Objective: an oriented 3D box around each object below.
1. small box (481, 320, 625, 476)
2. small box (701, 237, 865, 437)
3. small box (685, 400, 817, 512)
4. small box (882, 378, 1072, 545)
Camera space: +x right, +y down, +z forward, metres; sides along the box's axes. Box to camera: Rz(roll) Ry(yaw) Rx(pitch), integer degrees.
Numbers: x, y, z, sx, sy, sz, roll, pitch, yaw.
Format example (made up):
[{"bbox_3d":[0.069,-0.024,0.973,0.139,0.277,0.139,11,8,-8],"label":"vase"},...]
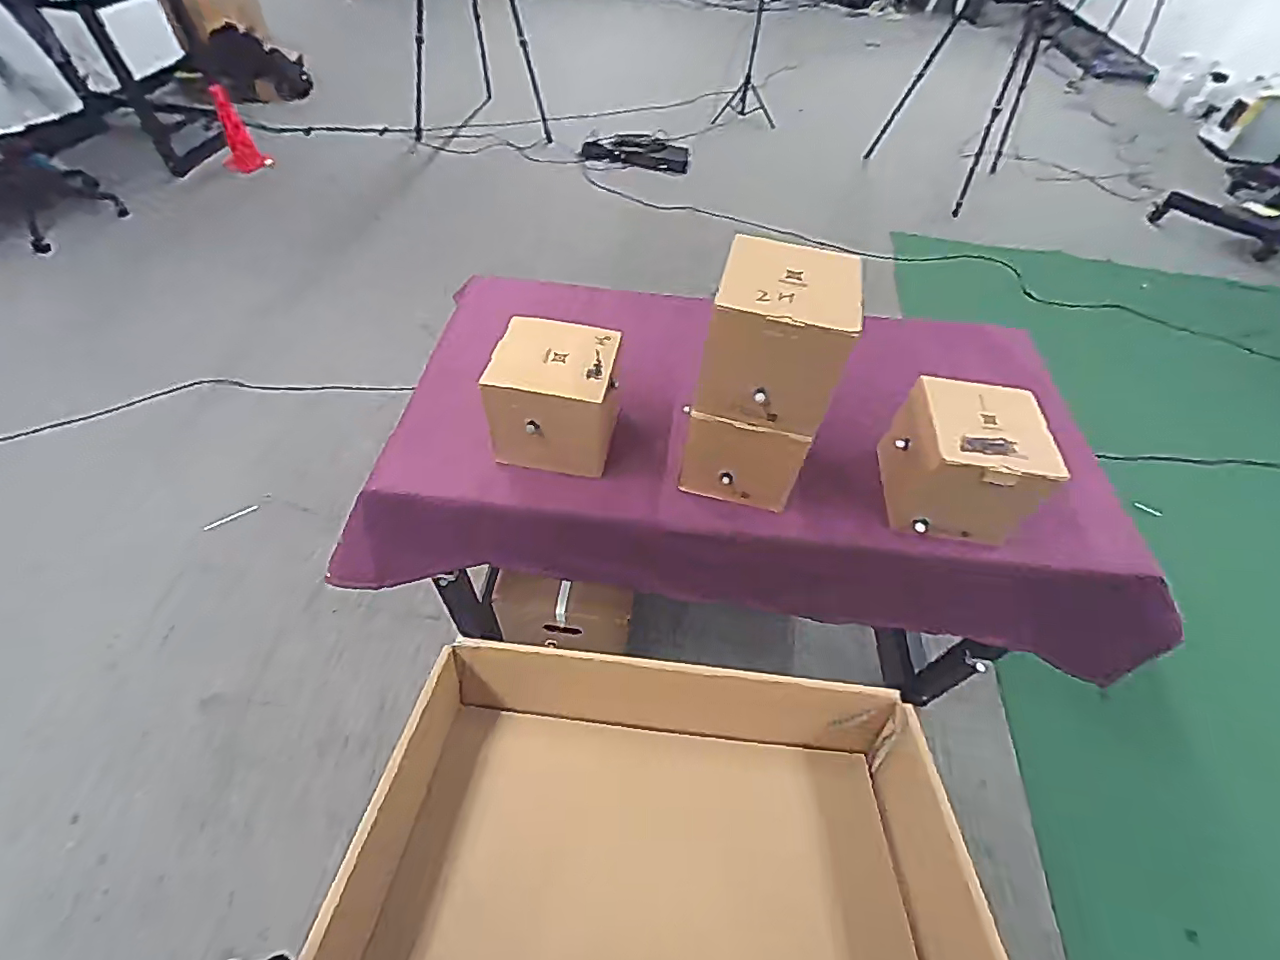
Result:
[{"bbox_3d":[-0.124,-0.124,0.849,0.179,0.176,0.168,9,52,4],"label":"small box"},{"bbox_3d":[0.182,-0.187,0.713,0.168,0.176,0.179,13,53,7],"label":"small box"},{"bbox_3d":[0.170,-0.080,0.838,0.168,0.176,0.179,13,53,6],"label":"small box"},{"bbox_3d":[0.485,-0.024,0.813,0.168,0.176,0.179,9,51,3],"label":"small box"}]
